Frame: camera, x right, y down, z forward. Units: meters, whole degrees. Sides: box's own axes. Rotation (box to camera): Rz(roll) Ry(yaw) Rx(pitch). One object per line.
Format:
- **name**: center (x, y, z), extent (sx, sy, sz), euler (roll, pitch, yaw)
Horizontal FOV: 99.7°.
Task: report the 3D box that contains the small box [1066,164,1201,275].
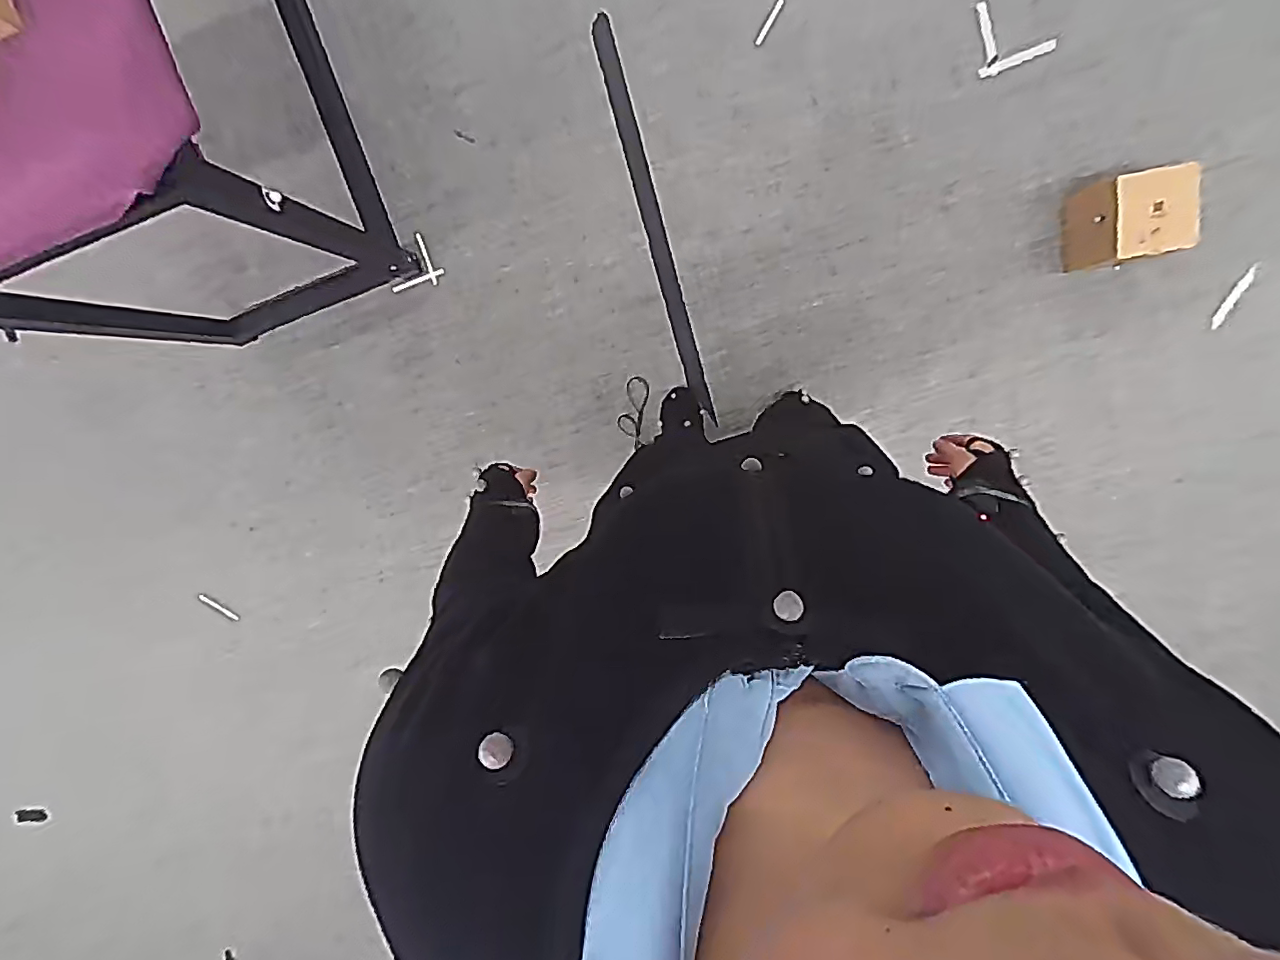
- **small box**: center (1.120, -0.588, 1.240), extent (0.168, 0.176, 0.179), euler (-7, 100, 6)
